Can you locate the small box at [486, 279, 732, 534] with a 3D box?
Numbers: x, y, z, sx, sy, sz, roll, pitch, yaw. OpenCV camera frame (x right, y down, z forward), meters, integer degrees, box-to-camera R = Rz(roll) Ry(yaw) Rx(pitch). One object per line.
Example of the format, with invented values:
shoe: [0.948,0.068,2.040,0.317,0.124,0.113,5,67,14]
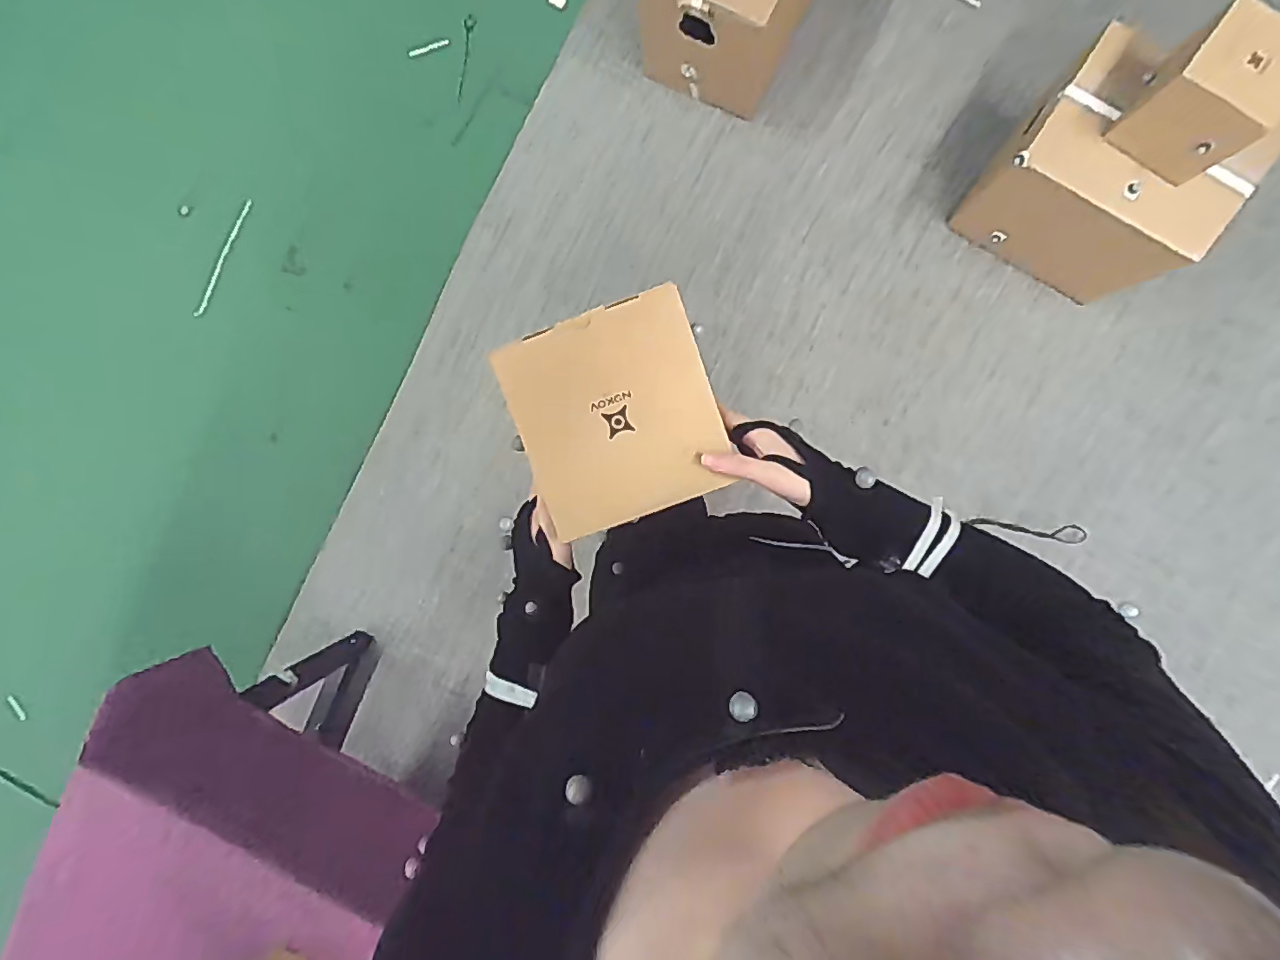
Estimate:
small box: [-0.022,-0.068,0.532,0.168,0.176,0.179,-20,95,3]

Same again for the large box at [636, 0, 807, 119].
large box: [0.219,-1.178,1.272,0.320,0.320,0.408,27,93,4]

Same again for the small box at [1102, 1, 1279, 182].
small box: [1.008,-0.677,0.969,0.179,0.176,0.168,37,92,3]
